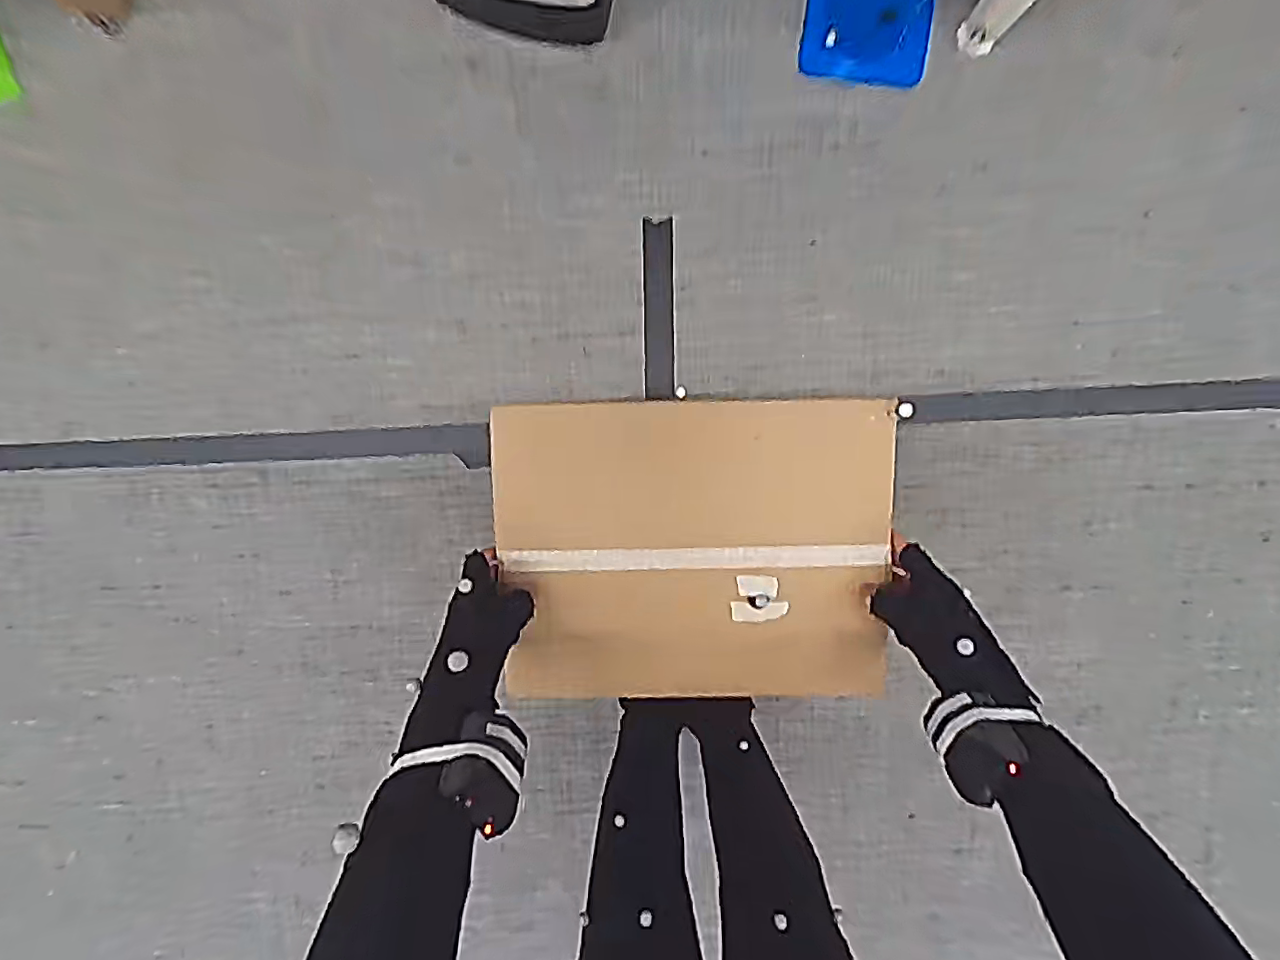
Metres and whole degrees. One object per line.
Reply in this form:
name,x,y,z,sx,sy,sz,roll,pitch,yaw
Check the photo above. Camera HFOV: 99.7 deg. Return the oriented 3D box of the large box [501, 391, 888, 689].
large box,0.060,0.050,0.718,0.408,0.320,0.320,-2,98,0
